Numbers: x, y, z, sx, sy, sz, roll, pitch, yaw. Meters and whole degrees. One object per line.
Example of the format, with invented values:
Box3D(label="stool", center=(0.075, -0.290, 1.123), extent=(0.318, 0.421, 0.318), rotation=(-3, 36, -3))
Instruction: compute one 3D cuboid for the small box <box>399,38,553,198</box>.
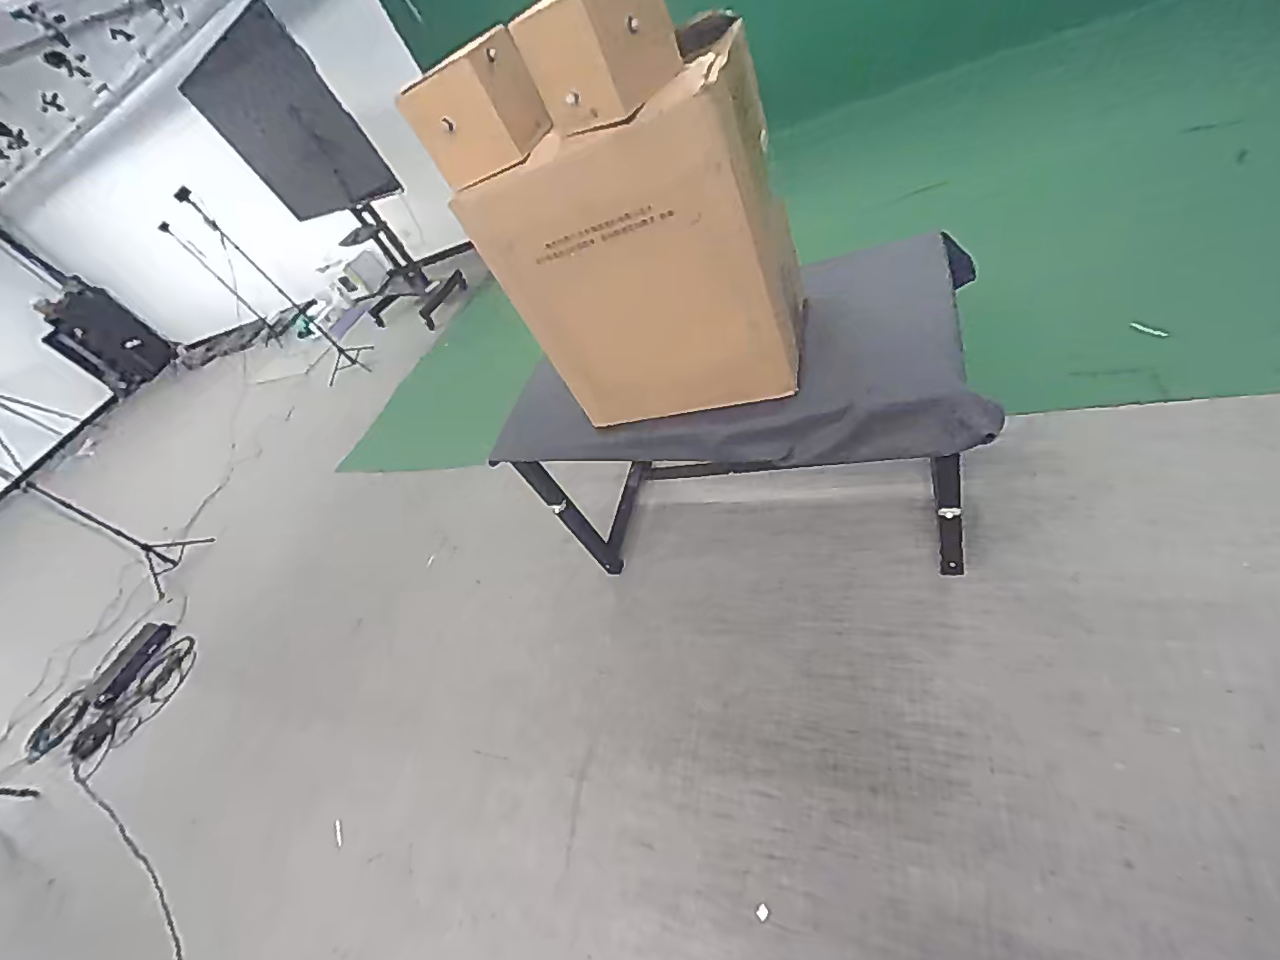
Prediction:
Box3D(label="small box", center=(-0.294, -0.659, 1.001), extent=(0.179, 0.176, 0.168), rotation=(-8, 48, 29))

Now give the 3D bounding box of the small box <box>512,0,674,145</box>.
Box3D(label="small box", center=(-0.065, -0.684, 0.882), extent=(0.168, 0.176, 0.179), rotation=(17, 62, 40))
